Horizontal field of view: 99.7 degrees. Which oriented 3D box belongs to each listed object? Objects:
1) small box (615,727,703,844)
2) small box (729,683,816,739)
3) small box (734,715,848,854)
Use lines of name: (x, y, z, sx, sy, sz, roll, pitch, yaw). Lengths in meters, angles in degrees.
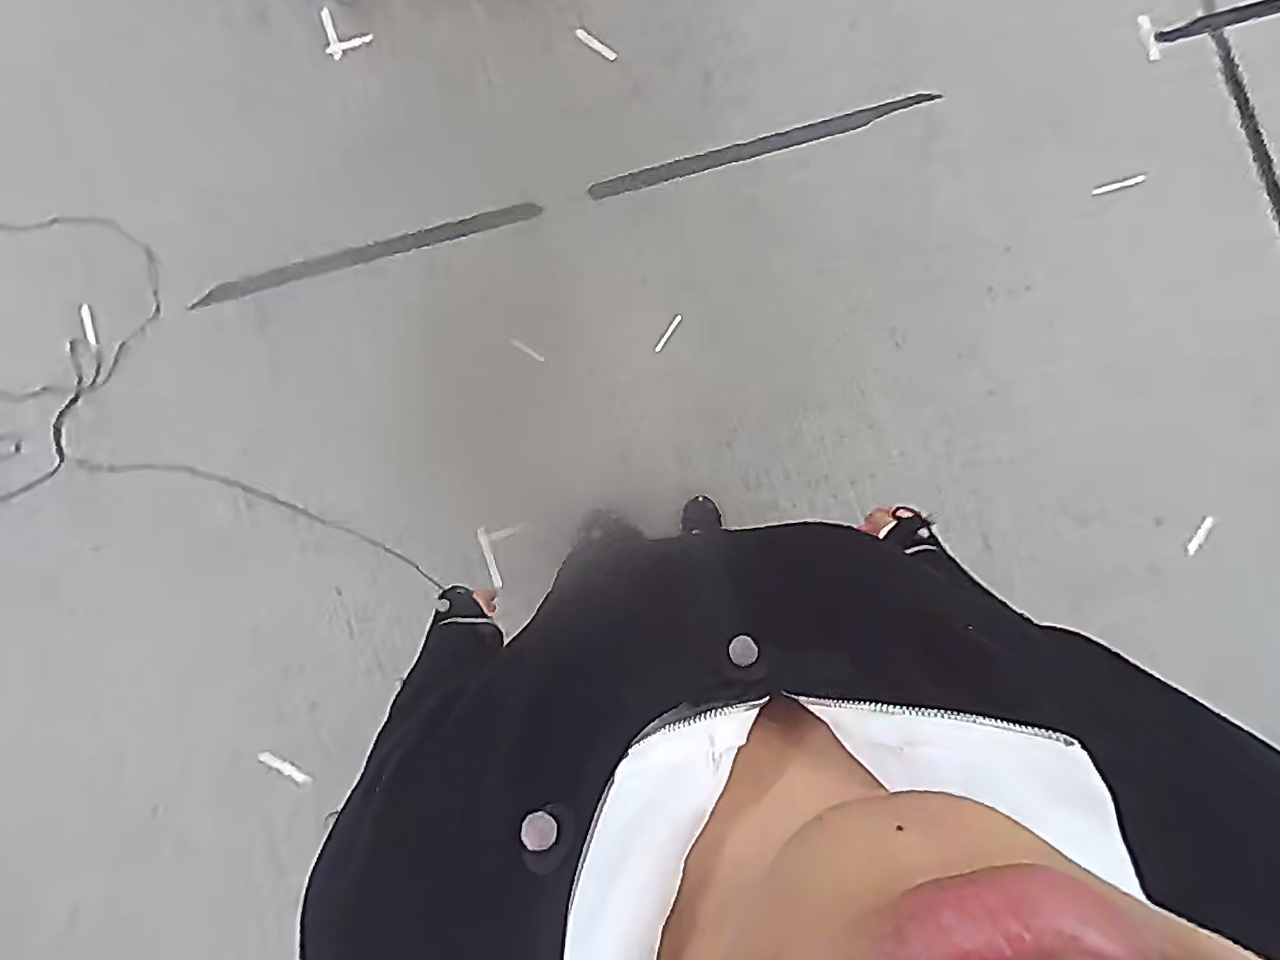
small box: (0.042, 0.720, 1.301, 0.168, 0.176, 0.179, -17, 88, 0)
small box: (0.326, 0.622, 1.304, 0.168, 0.176, 0.179, -18, 88, 0)
small box: (0.309, 0.631, 1.139, 0.168, 0.176, 0.179, -16, 89, 0)
